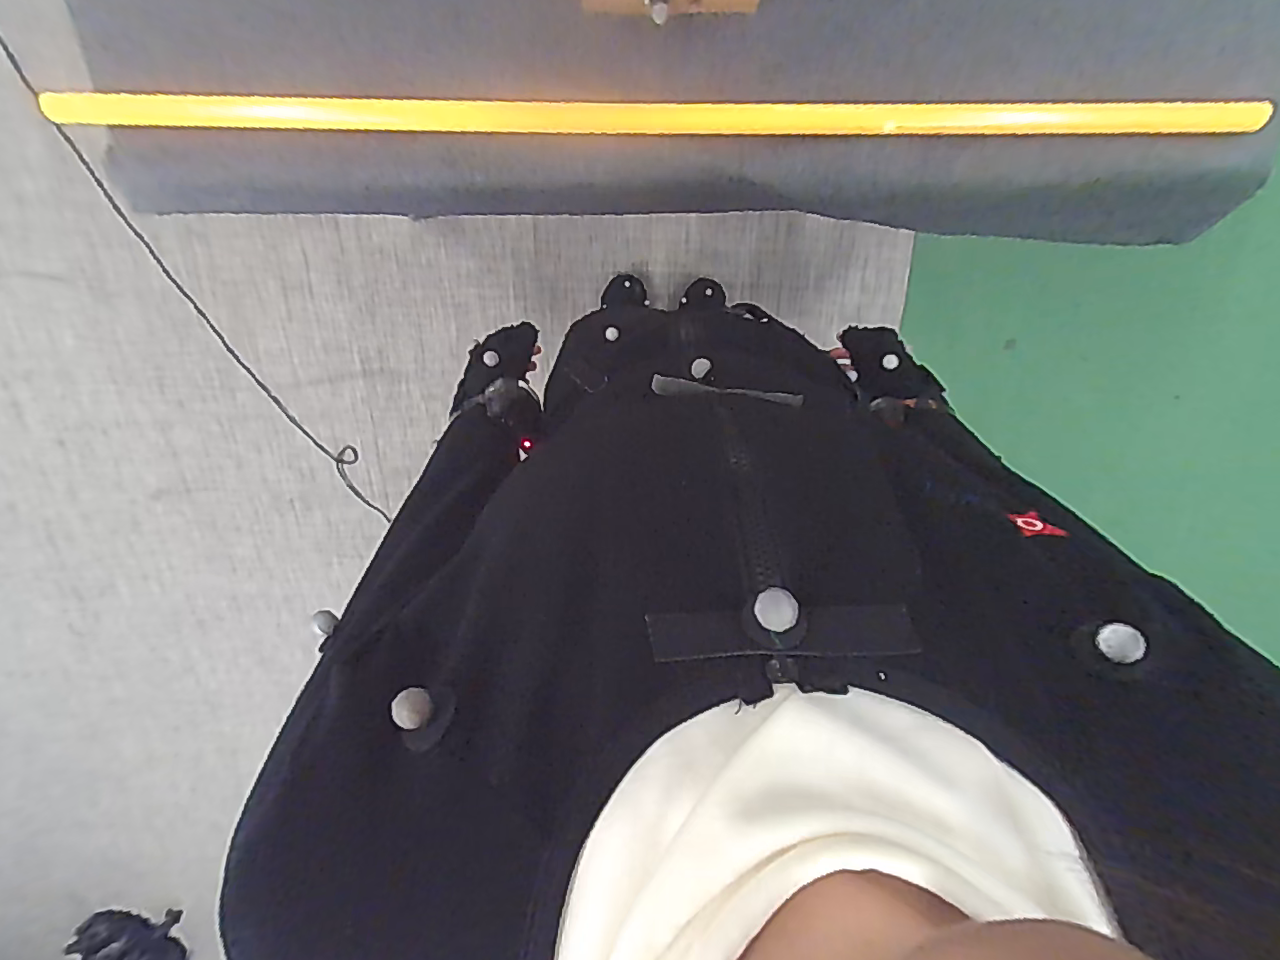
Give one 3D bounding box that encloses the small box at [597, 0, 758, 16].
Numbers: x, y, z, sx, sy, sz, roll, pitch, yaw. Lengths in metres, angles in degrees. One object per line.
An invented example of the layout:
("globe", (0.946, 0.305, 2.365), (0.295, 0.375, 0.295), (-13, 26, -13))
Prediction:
("small box", (0.032, -0.505, 0.420), (0.168, 0.176, 0.179), (-1, 112, 1))
